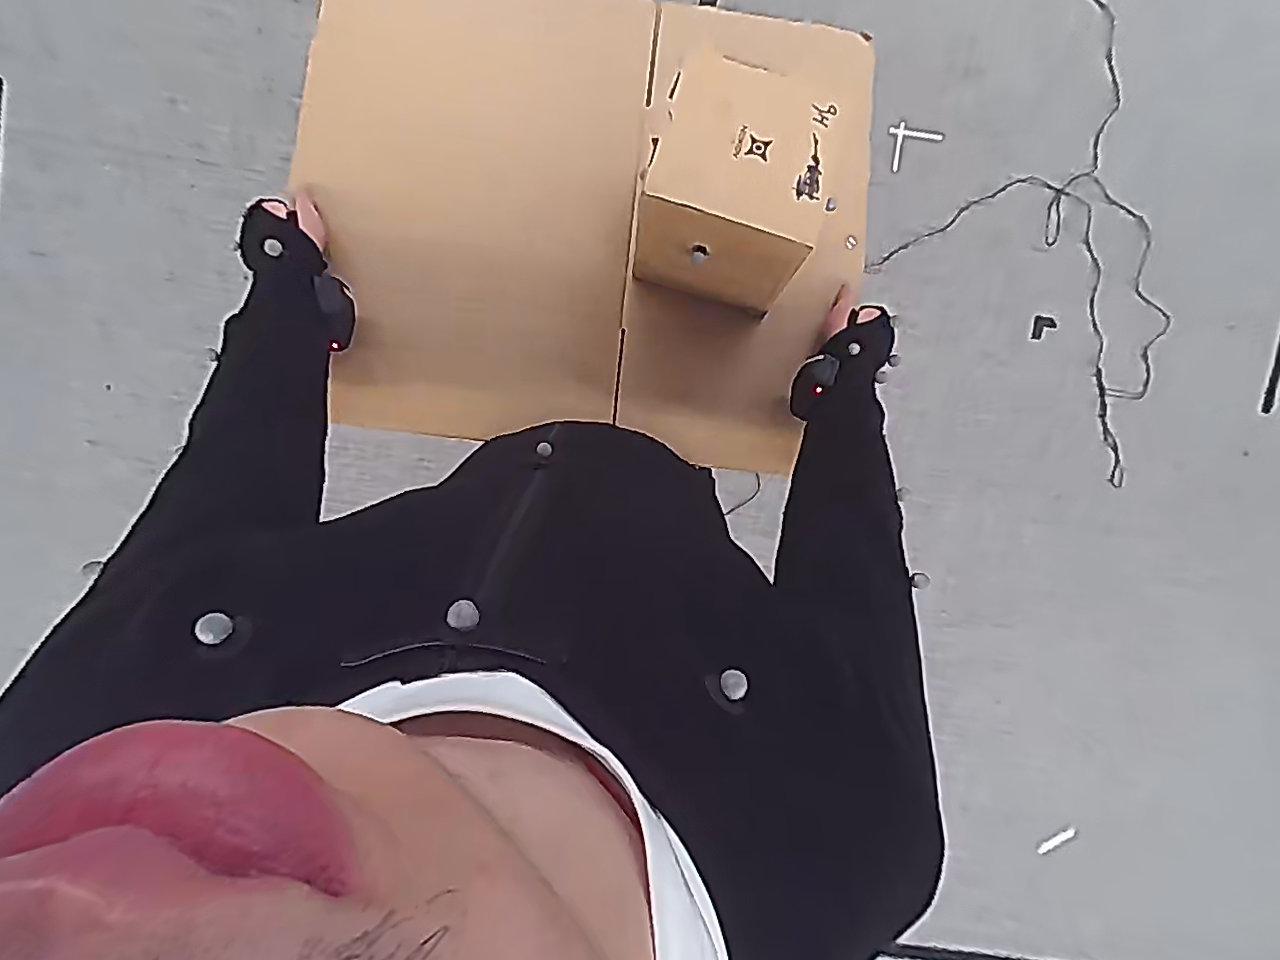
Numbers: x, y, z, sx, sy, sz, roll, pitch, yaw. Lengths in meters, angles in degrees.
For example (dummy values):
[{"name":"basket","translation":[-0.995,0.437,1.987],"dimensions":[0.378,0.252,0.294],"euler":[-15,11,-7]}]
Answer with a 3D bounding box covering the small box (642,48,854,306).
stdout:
[{"name":"small box","translation":[0.105,-0.320,0.608],"dimensions":[0.179,0.176,0.168],"euler":[17,84,-1]}]
